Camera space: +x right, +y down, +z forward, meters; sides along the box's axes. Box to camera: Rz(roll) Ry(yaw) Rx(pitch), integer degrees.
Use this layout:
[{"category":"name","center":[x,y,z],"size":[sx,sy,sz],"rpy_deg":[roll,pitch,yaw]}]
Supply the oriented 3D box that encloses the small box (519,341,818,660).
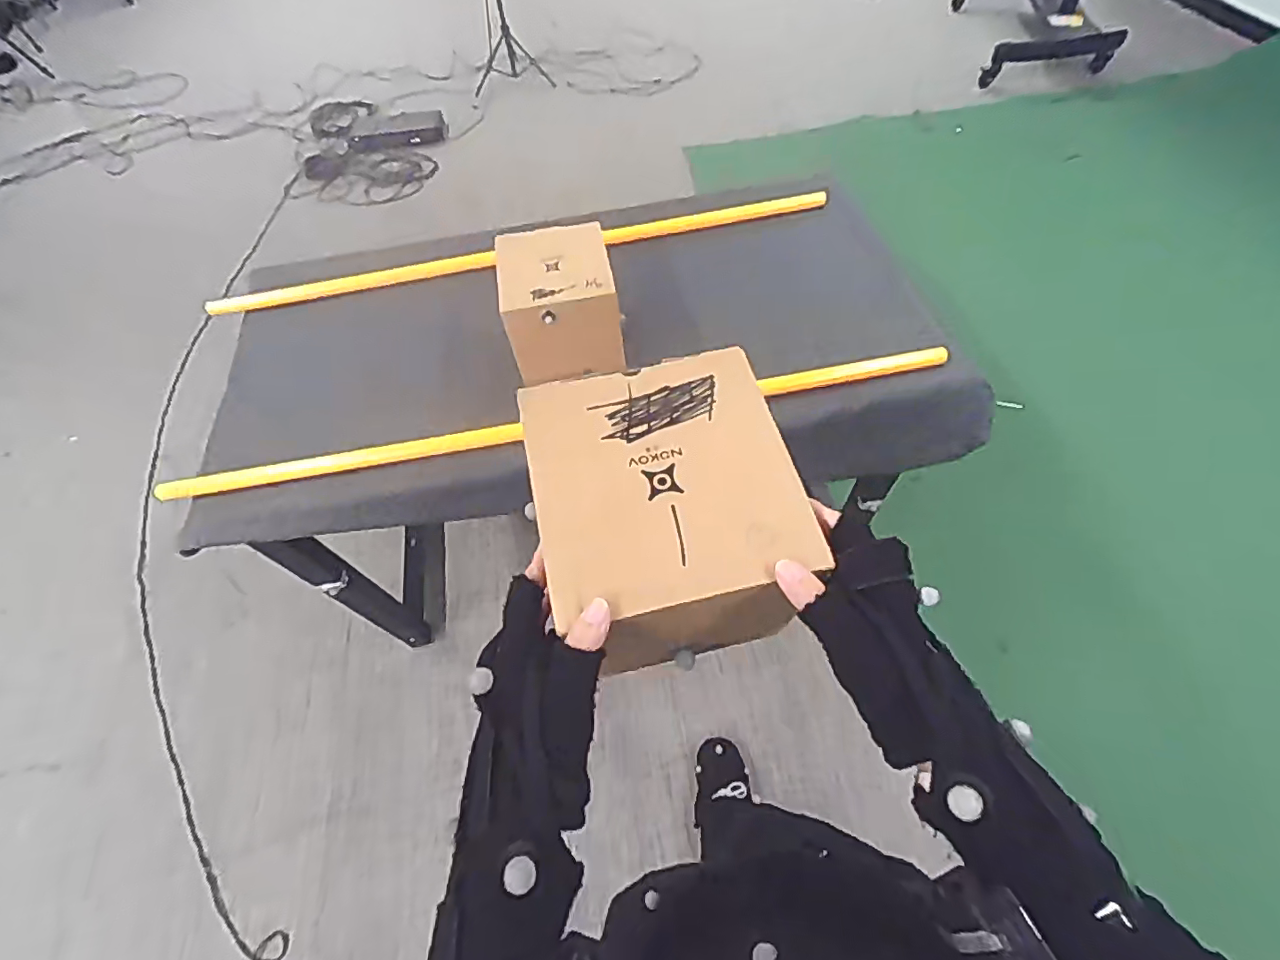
[{"category":"small box","center":[0.011,0.024,0.425],"size":[0.168,0.176,0.179],"rpy_deg":[-12,62,-5]}]

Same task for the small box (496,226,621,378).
[{"category":"small box","center":[-0.127,-0.273,0.868],"size":[0.168,0.176,0.179],"rpy_deg":[-11,57,-2]}]
